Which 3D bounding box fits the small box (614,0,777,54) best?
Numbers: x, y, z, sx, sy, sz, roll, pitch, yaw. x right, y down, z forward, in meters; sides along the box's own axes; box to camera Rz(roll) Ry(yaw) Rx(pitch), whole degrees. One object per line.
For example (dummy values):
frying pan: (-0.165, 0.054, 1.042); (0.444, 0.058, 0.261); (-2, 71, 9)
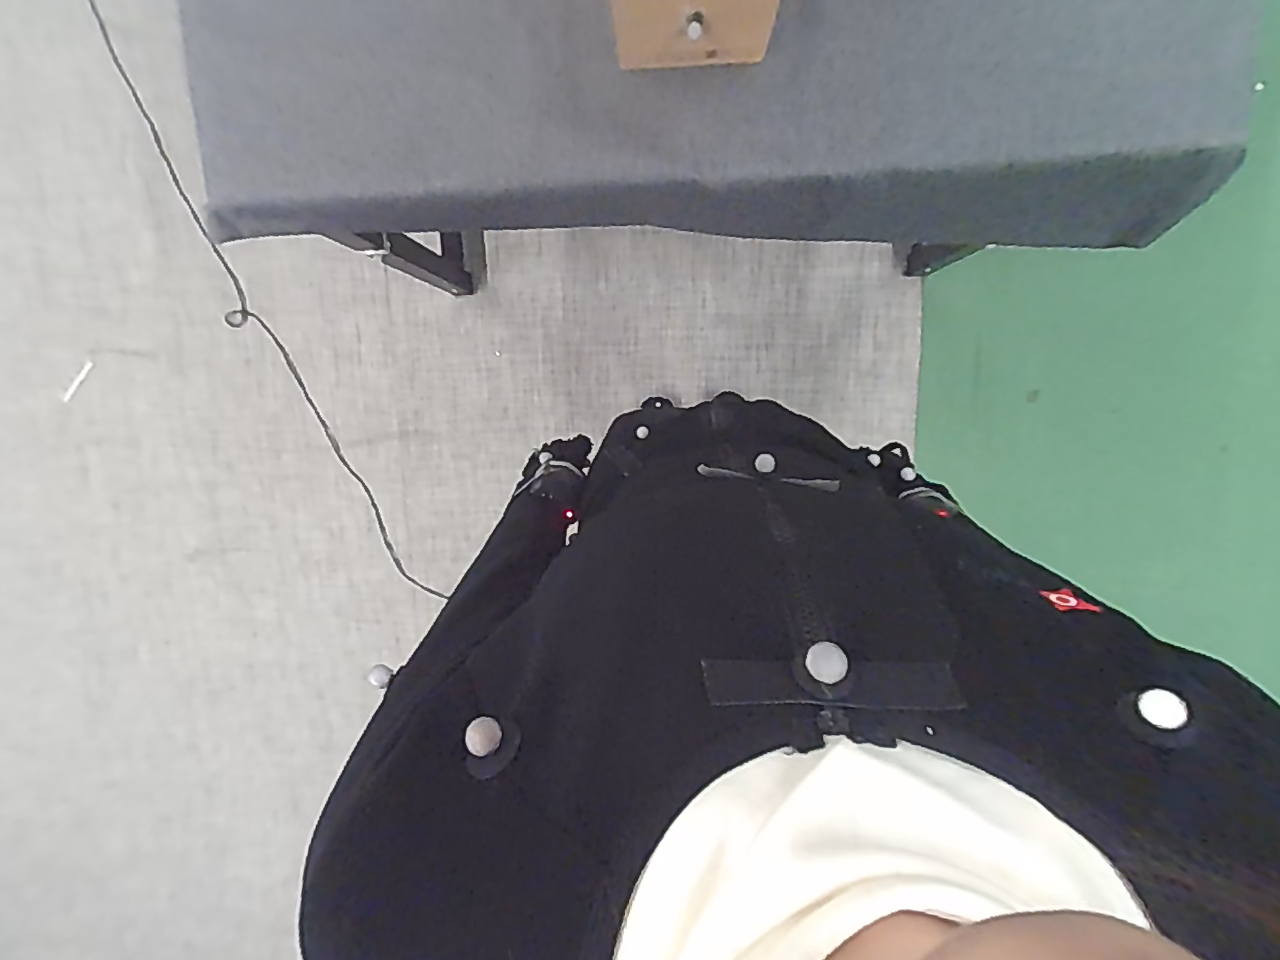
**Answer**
small box: (0.054, -0.552, 0.523); (0.168, 0.176, 0.179); (-2, 100, 4)
